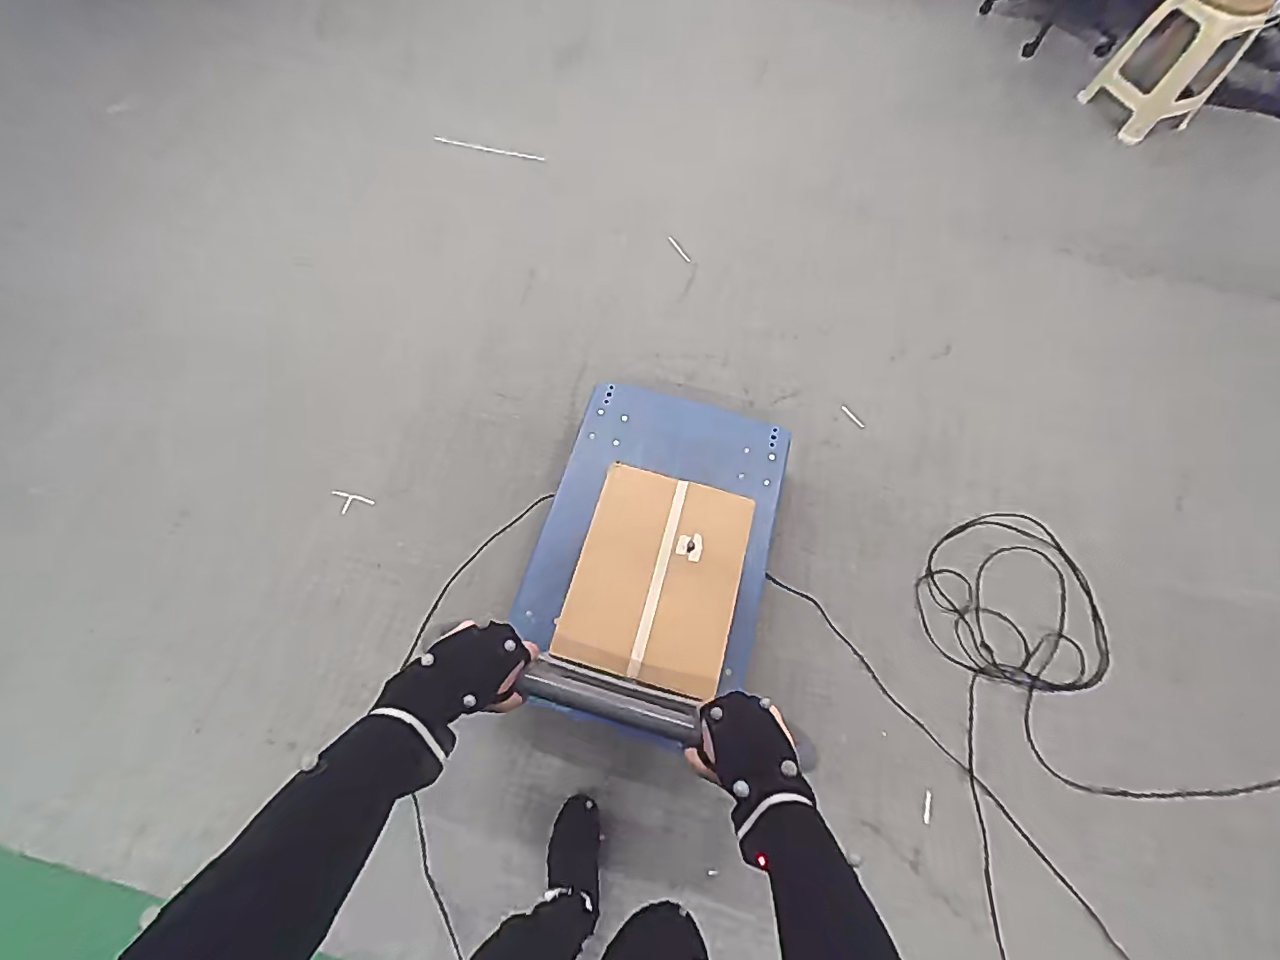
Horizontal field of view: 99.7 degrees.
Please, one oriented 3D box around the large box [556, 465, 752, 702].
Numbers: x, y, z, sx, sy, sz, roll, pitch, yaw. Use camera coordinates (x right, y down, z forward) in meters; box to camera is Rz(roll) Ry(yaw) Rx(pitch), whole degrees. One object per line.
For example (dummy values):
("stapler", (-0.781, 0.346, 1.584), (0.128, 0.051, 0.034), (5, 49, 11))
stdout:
("large box", (0.032, 0.240, 1.190), (0.320, 0.320, 0.408), (16, 66, 3))
